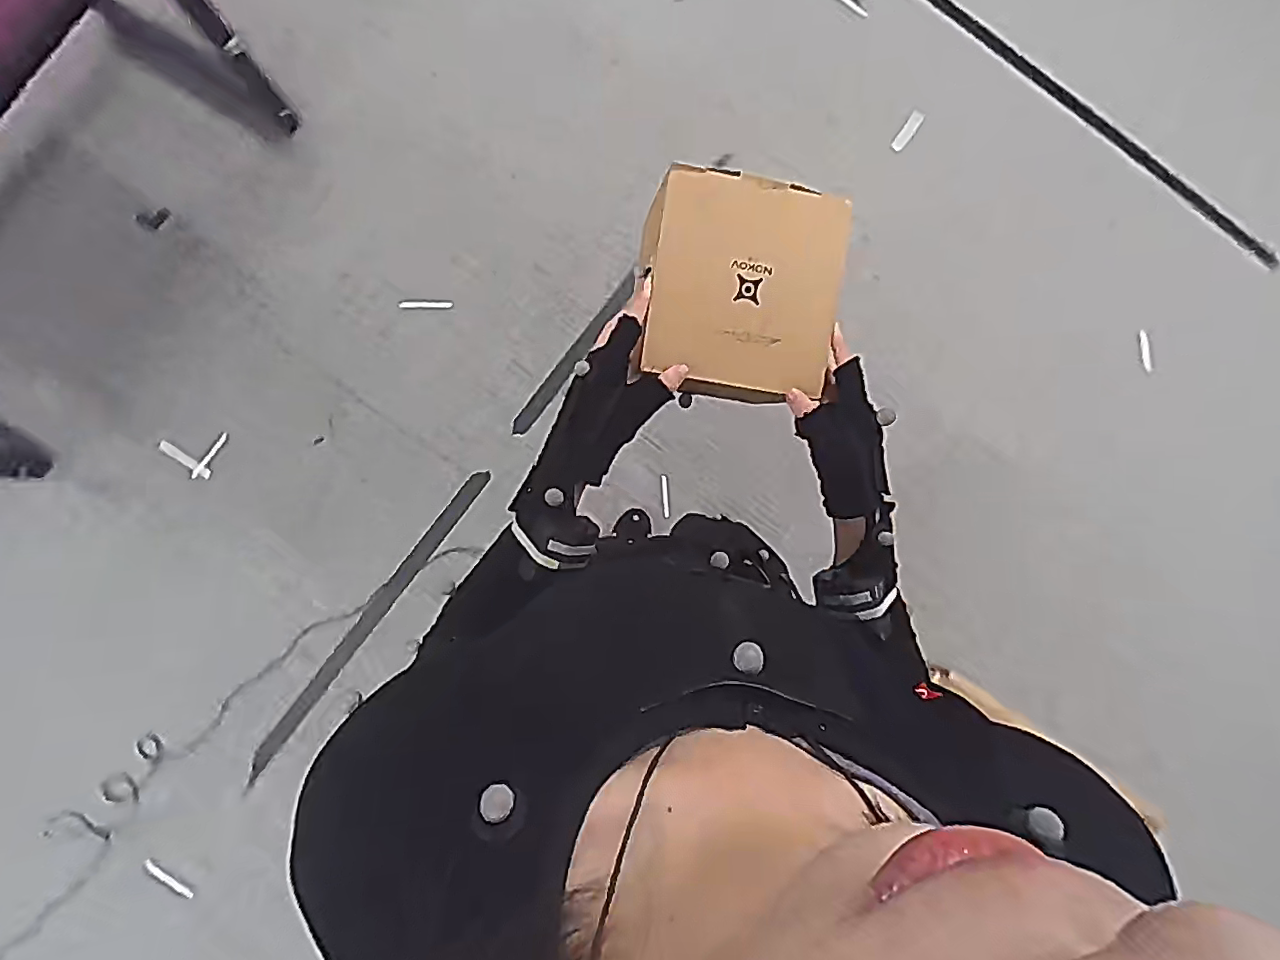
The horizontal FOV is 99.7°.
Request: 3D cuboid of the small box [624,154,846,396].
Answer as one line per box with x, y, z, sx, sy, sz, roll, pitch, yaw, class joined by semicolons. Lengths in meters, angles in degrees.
0.078;-0.182;0.538;0.168;0.176;0.179;5;96;-7;small box
